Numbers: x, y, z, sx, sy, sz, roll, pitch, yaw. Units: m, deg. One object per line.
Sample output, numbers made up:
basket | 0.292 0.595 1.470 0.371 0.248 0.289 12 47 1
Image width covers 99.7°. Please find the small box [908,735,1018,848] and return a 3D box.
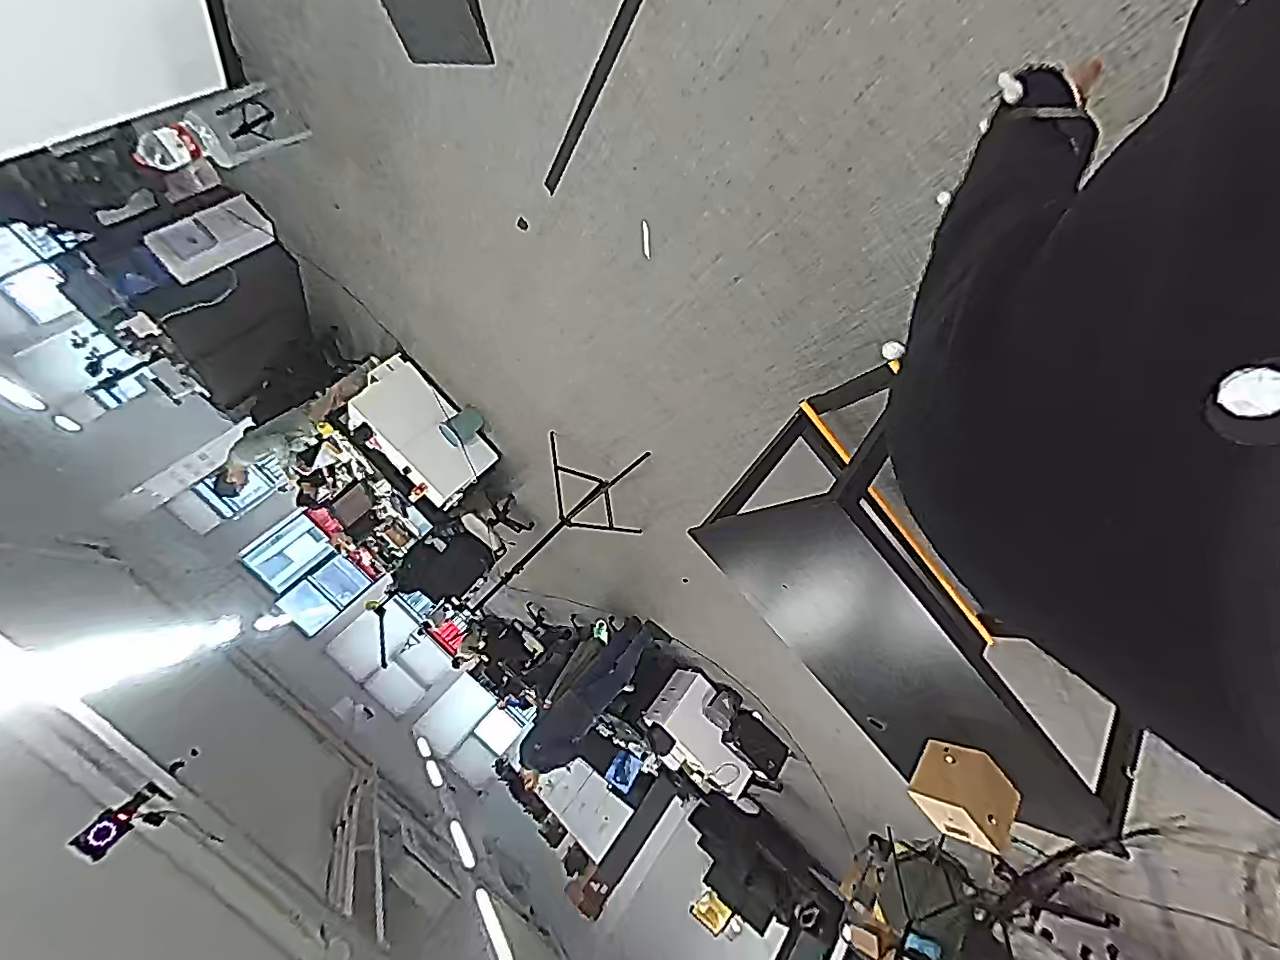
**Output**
small box | 0.873 0.830 1.456 0.179 0.176 0.168 49 153 -9
